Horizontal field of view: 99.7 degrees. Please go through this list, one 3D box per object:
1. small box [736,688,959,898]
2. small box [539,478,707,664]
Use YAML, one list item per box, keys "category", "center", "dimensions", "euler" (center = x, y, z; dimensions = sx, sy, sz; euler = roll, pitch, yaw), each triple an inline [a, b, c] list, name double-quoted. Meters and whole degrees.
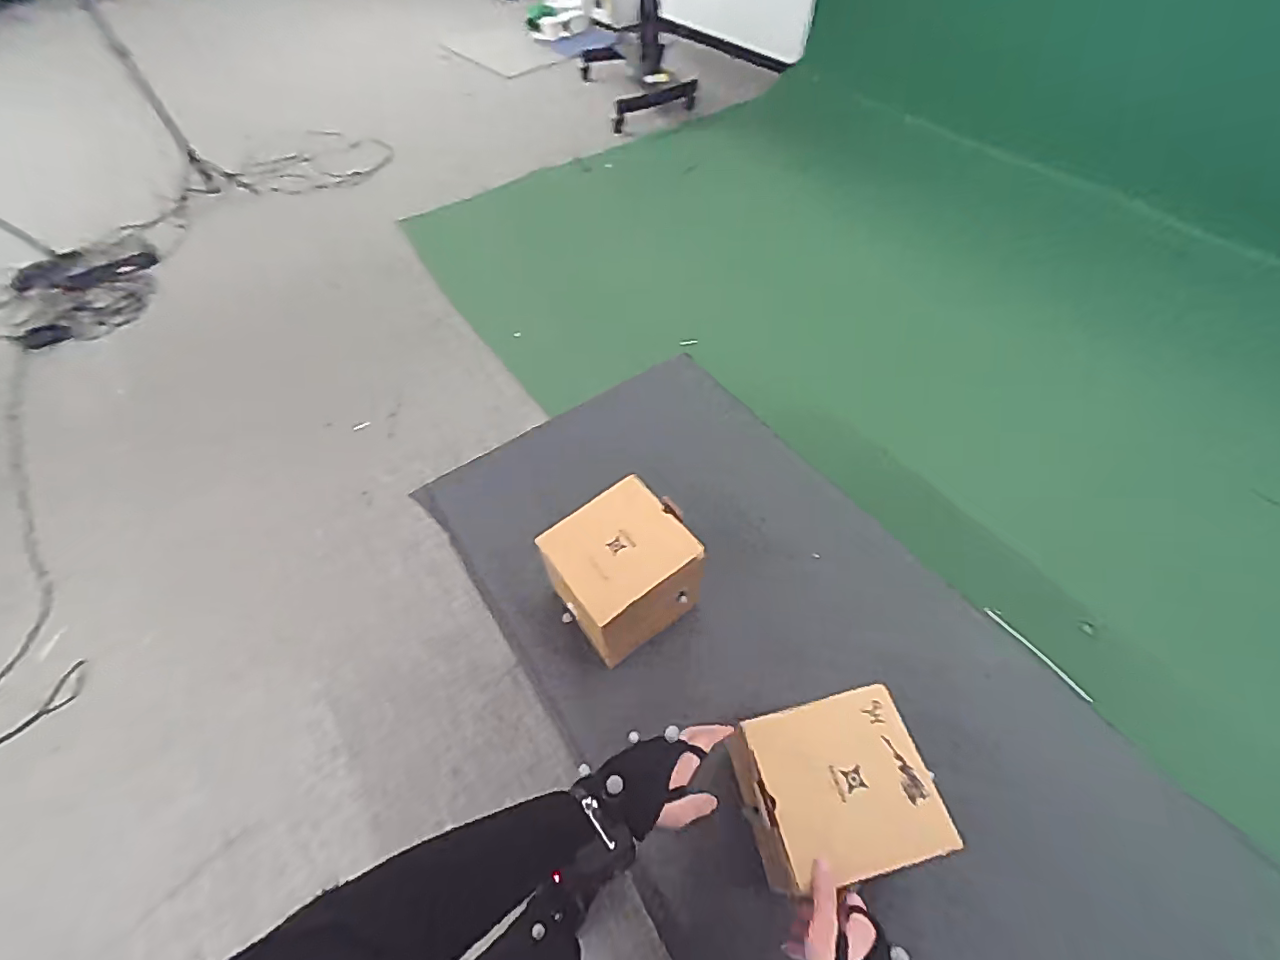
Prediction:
- category: "small box"
  center: [0.218, 0.367, 0.632]
  dimensions: [0.179, 0.176, 0.168]
  euler: [-13, 54, -5]
- category: "small box"
  center: [-0.023, 0.136, 0.797]
  dimensions: [0.179, 0.176, 0.168]
  euler: [-32, 58, -19]
